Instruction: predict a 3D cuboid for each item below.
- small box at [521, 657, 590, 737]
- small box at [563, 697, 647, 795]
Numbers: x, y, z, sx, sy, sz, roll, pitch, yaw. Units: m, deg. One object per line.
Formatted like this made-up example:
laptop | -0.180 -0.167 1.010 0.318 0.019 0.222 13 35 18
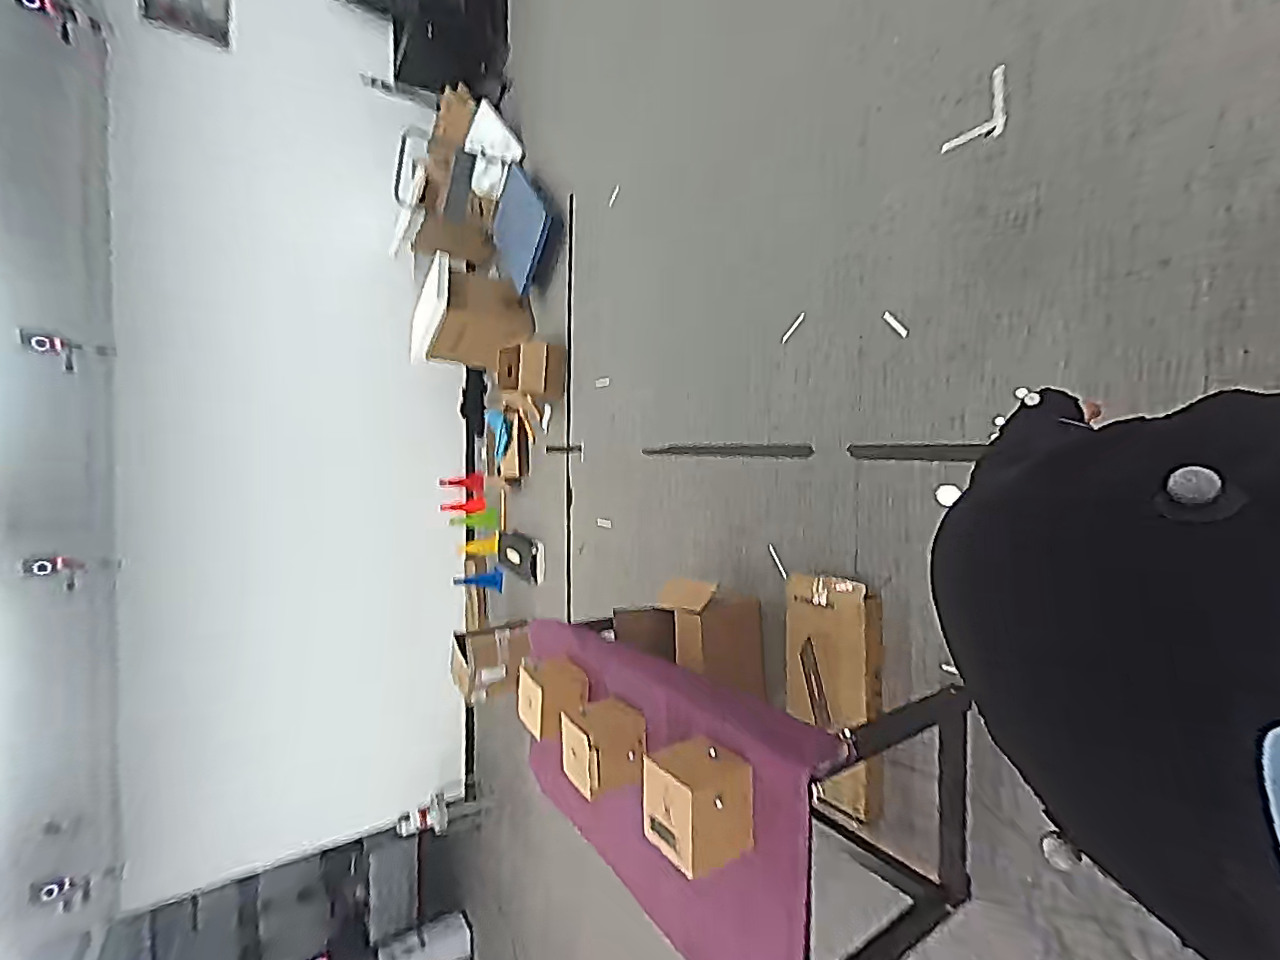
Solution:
small box | -0.272 0.688 1.740 0.179 0.176 0.168 13 101 56
small box | -0.096 0.713 1.475 0.179 0.176 0.168 0 93 56
